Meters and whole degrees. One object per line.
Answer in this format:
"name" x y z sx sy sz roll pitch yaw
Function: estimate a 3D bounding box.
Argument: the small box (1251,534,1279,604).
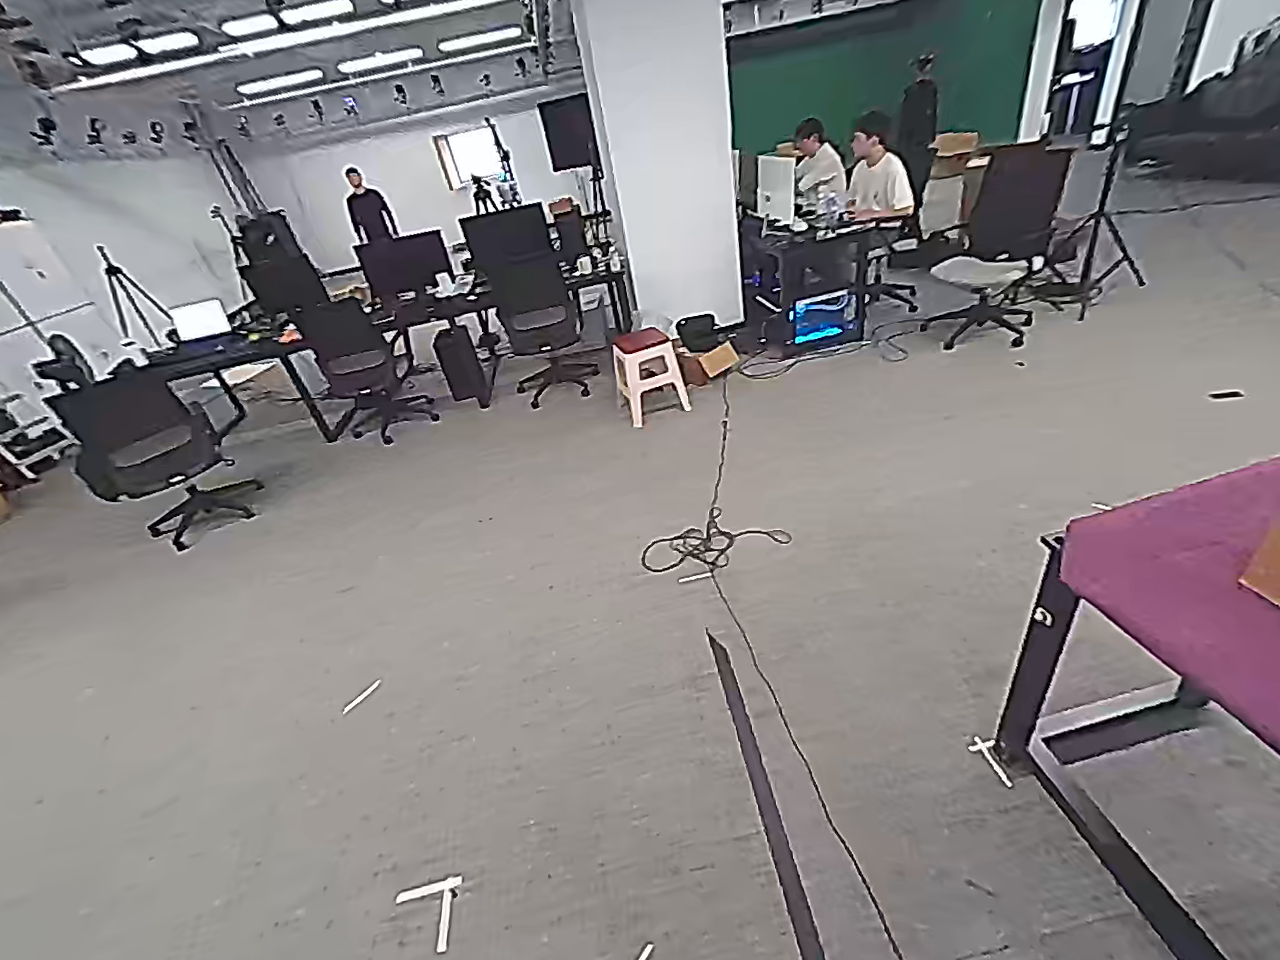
"small box" 1.086 0.125 0.794 0.179 0.176 0.168 -16 34 -3
